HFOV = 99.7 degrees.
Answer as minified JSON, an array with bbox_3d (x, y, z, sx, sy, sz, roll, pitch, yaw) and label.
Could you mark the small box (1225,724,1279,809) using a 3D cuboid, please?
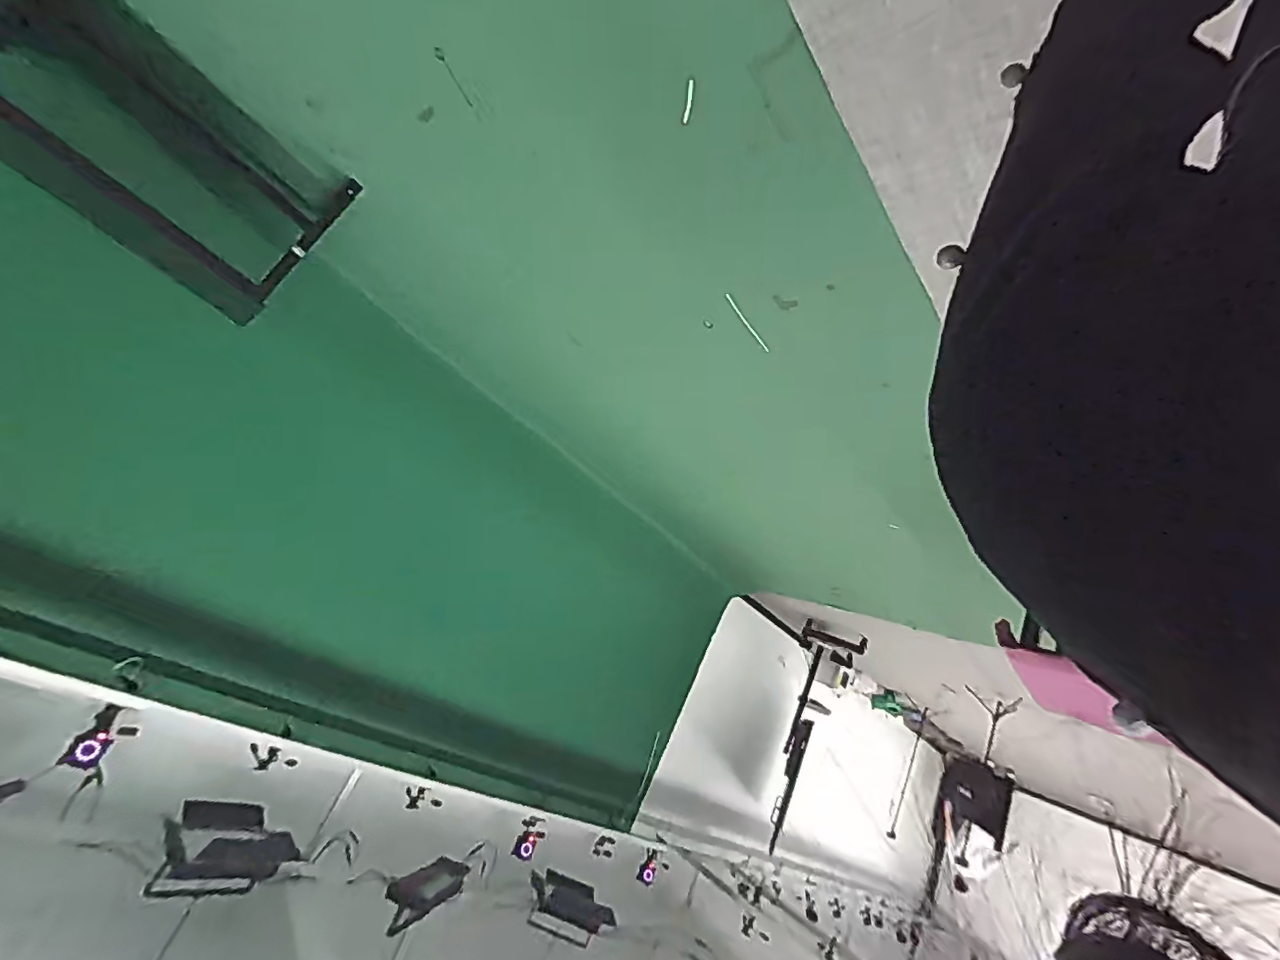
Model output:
[{"bbox_3d":[1.784,0.819,1.525,0.168,0.176,0.179,5,151,48],"label":"small box"}]
